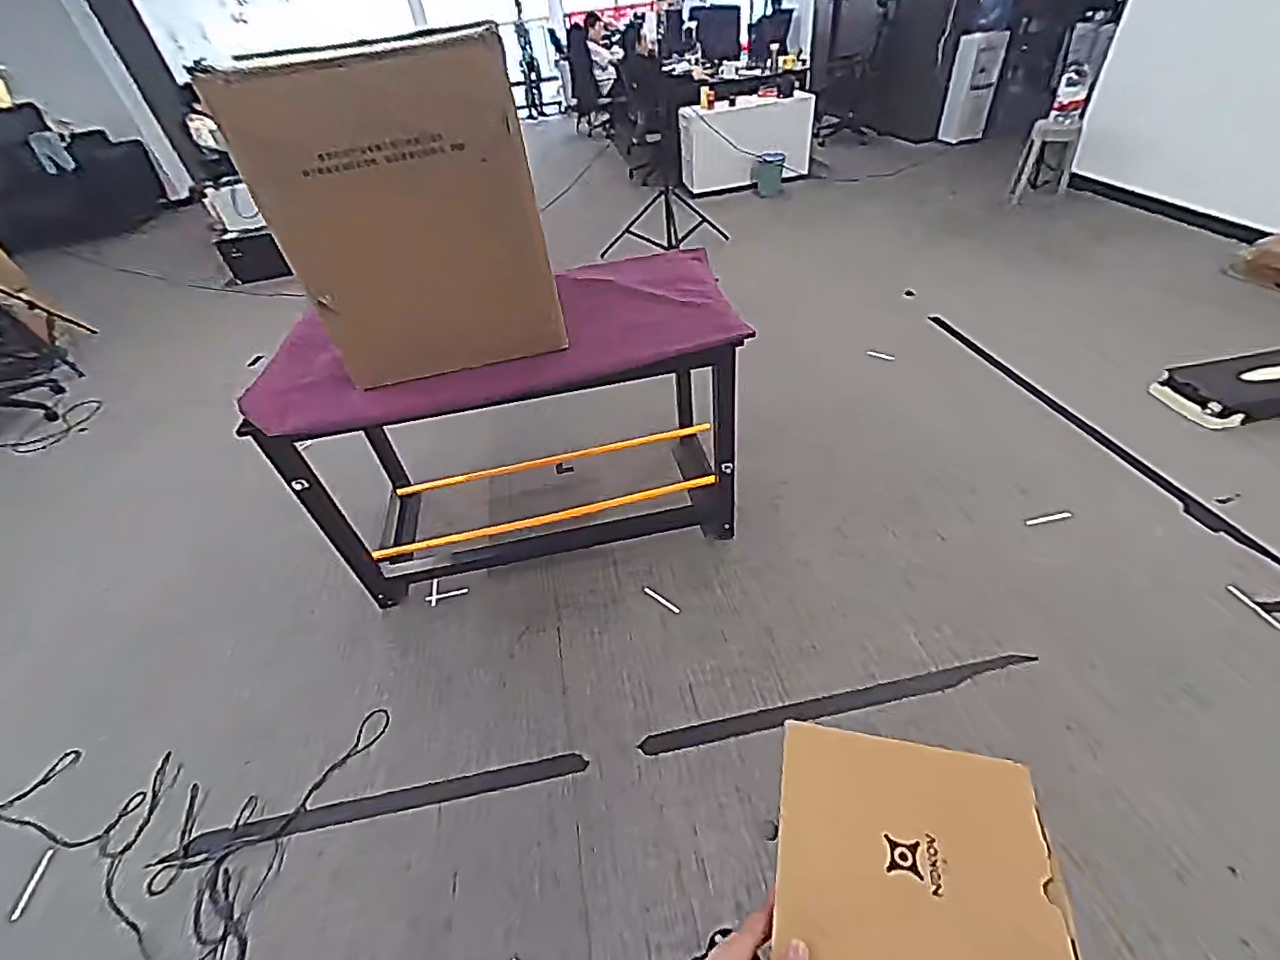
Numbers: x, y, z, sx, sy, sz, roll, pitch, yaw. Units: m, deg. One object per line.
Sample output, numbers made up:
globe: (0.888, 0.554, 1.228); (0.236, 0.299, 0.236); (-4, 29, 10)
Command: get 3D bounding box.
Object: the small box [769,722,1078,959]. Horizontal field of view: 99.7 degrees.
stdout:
small box: (0.193, 0.319, 0.414); (0.179, 0.176, 0.168); (4, 39, 16)
